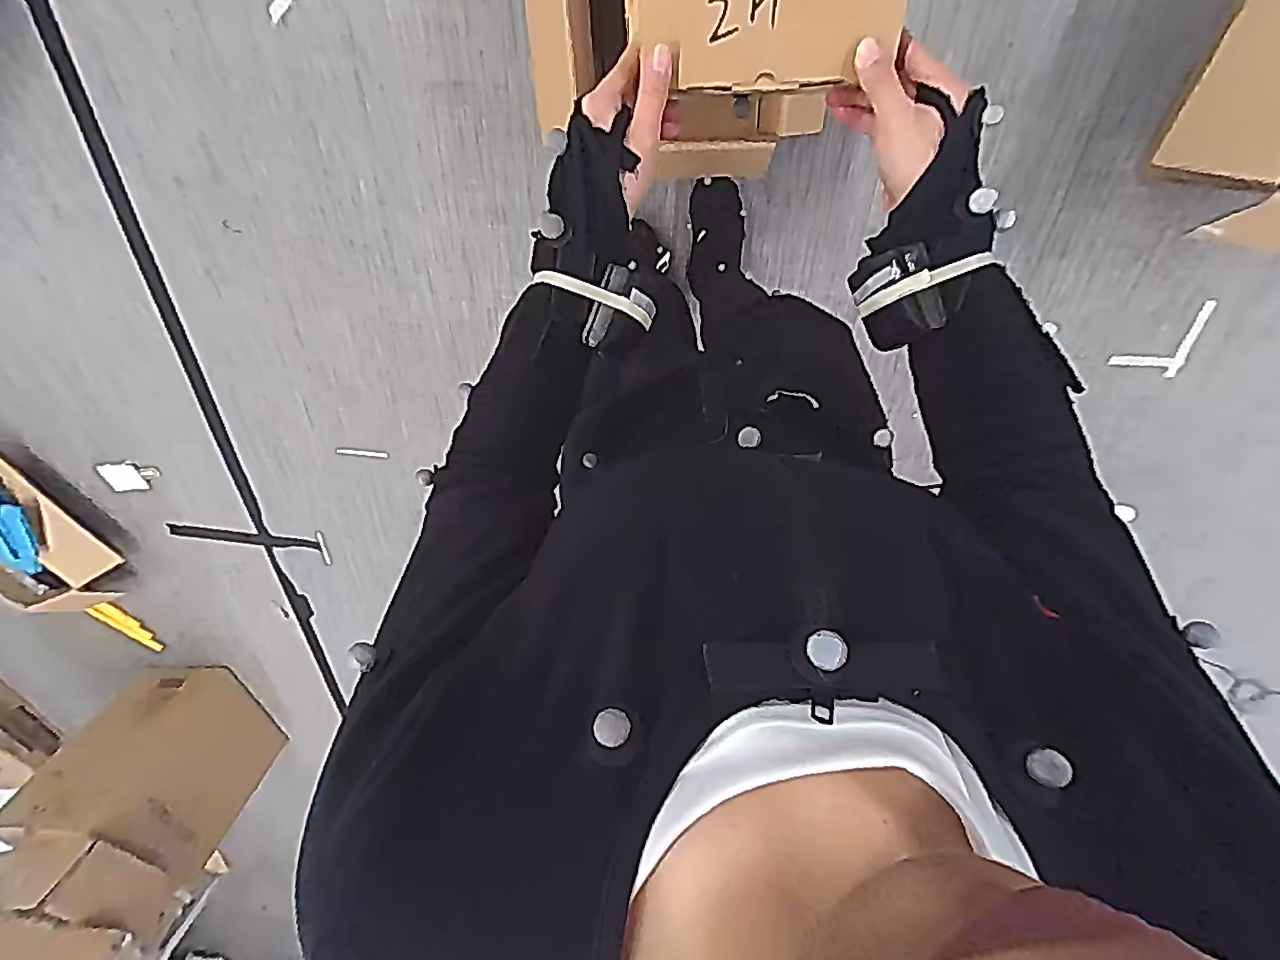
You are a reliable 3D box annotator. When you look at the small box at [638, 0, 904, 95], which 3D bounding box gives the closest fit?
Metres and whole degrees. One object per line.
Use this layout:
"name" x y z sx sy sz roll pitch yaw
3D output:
"small box" 0.081 -0.379 0.372 0.168 0.176 0.179 0 124 3
